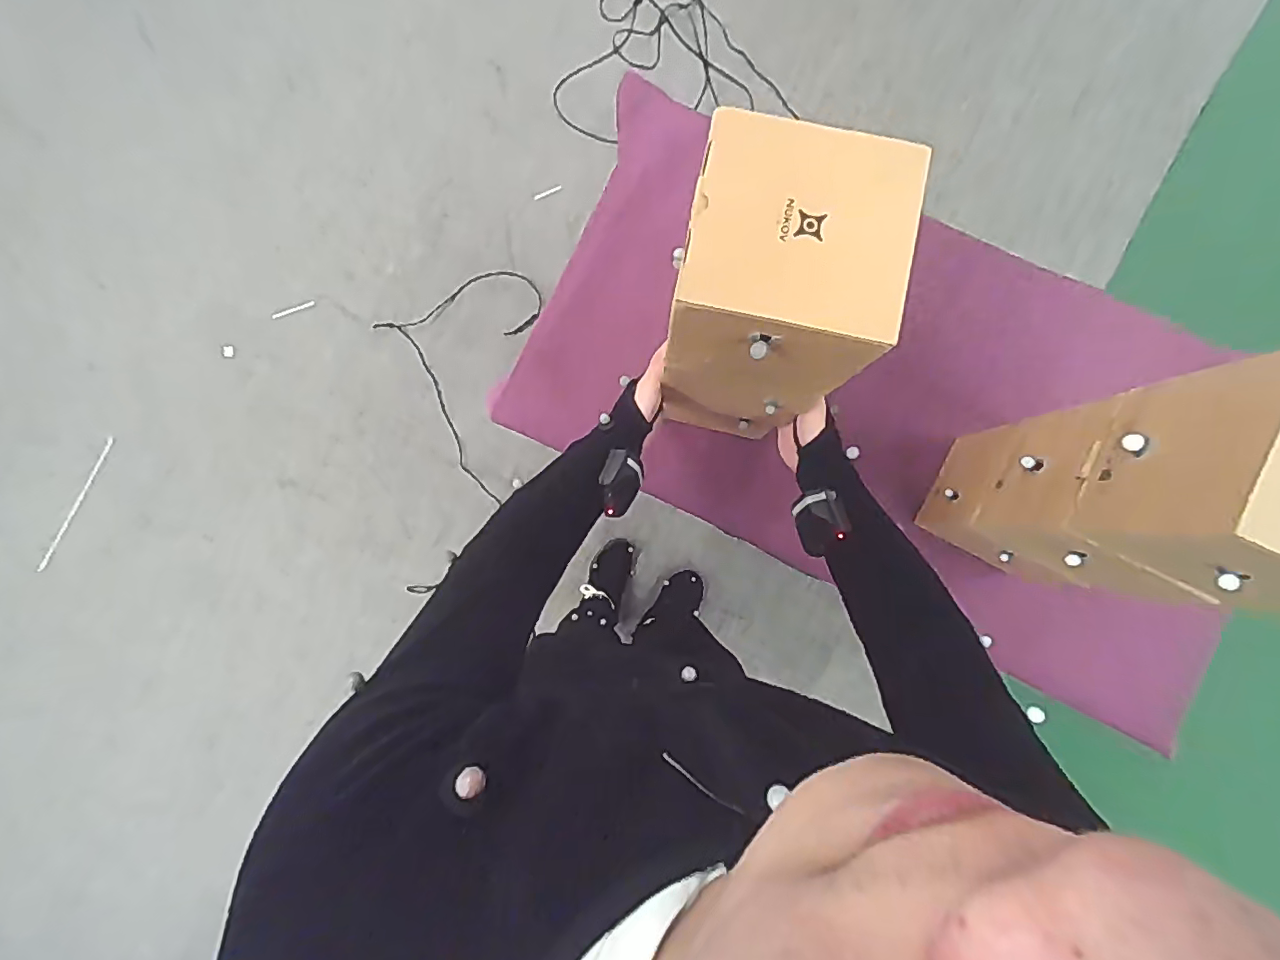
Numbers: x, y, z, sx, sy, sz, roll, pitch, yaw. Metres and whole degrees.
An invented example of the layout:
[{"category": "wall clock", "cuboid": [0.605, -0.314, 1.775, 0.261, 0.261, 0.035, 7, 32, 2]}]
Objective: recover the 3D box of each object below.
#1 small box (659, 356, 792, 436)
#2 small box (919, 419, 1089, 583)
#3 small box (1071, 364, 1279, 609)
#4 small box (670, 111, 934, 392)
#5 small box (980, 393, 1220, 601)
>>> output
[{"category": "small box", "cuboid": [0.133, -0.171, 0.825, 0.179, 0.176, 0.168, 14, 85, 2]}, {"category": "small box", "cuboid": [0.559, 0.033, 0.806, 0.179, 0.176, 0.168, 29, 88, 3]}, {"category": "small box", "cuboid": [0.552, 0.011, 0.478, 0.179, 0.176, 0.168, 26, 88, 4]}, {"category": "small box", "cuboid": [0.130, -0.188, 0.499, 0.179, 0.176, 0.168, 12, 86, 2]}, {"category": "small box", "cuboid": [0.555, 0.022, 0.643, 0.179, 0.176, 0.168, 27, 89, 4]}]
